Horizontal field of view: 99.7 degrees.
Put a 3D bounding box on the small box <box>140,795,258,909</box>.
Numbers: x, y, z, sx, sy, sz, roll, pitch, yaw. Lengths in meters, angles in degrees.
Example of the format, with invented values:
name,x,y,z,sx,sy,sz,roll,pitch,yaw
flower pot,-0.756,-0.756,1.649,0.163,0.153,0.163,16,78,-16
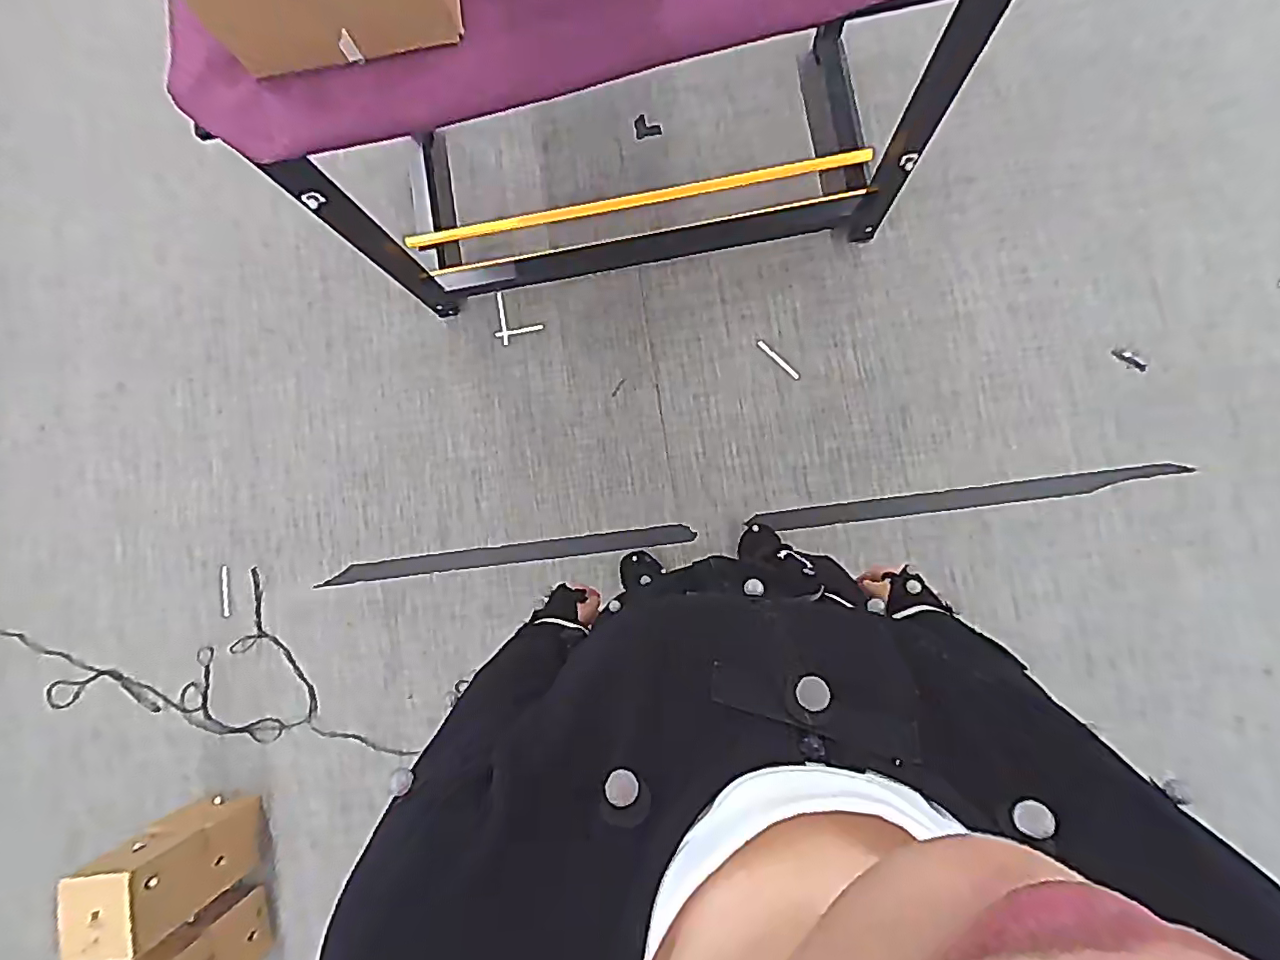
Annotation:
name,x,y,z,sx,sy,sz,roll,pitch,yaw
small box,-1.090,0.917,1.343,0.168,0.176,0.179,-3,85,5

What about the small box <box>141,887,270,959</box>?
name,x,y,z,sx,sy,sz,roll,pitch,yaw
small box,-1.057,1.148,1.324,0.179,0.176,0.168,-15,84,3

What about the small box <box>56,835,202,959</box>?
name,x,y,z,sx,sy,sz,roll,pitch,yaw
small box,-1.104,0.906,1.180,0.168,0.176,0.179,-9,85,5
